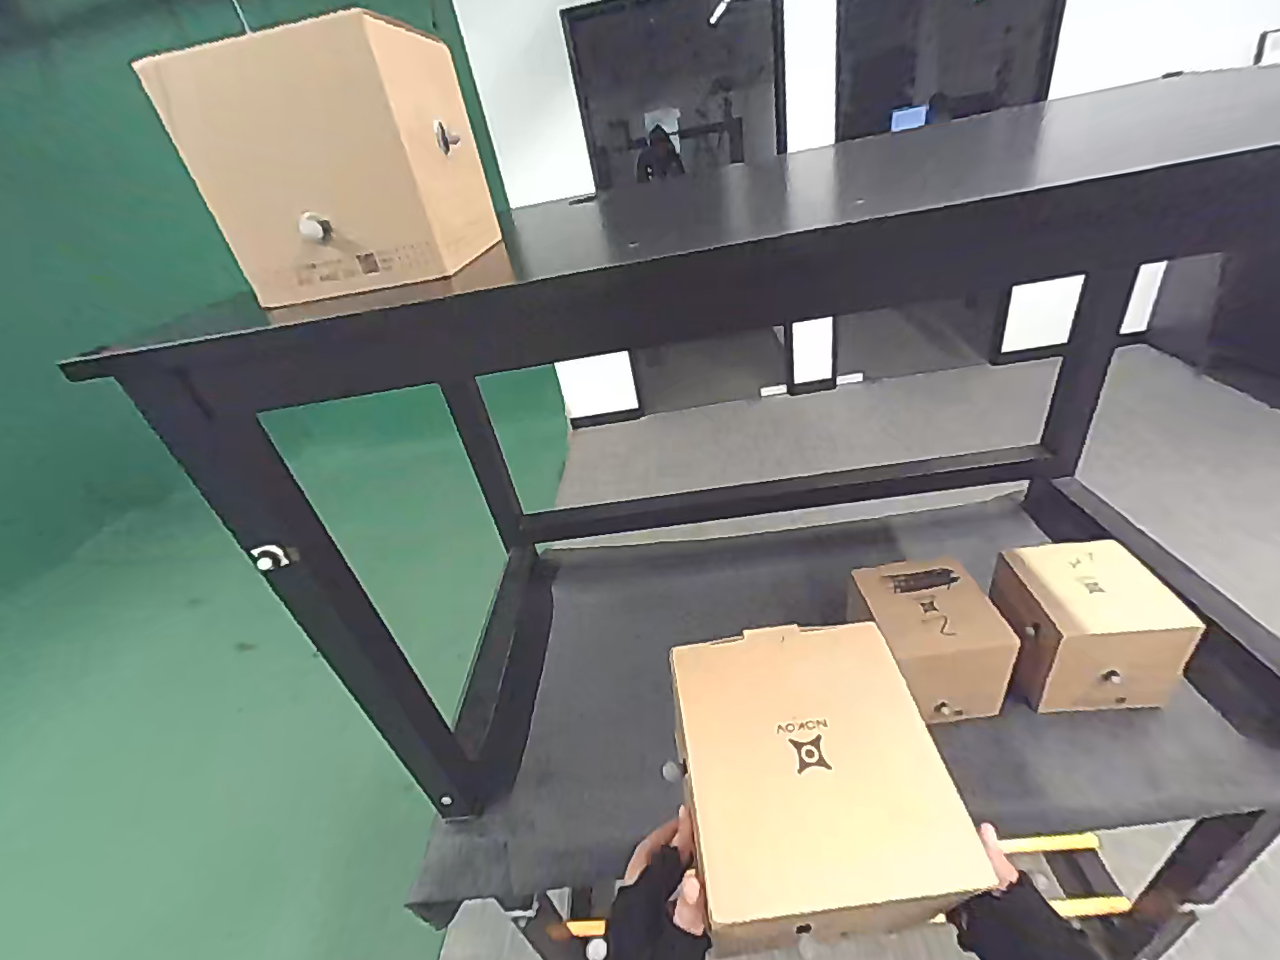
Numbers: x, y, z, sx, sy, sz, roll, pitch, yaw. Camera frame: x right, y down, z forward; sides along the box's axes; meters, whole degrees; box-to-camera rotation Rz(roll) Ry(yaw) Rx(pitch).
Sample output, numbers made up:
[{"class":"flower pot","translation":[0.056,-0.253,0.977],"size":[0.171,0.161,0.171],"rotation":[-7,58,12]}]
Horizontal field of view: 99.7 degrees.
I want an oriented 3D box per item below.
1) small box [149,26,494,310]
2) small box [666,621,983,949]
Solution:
[{"class":"small box","translation":[-0.242,-0.261,0.472],"size":[0.168,0.176,0.179],"rotation":[-8,33,7]},{"class":"small box","translation":[0.116,0.238,0.419],"size":[0.168,0.176,0.179],"rotation":[-7,43,-1]}]
